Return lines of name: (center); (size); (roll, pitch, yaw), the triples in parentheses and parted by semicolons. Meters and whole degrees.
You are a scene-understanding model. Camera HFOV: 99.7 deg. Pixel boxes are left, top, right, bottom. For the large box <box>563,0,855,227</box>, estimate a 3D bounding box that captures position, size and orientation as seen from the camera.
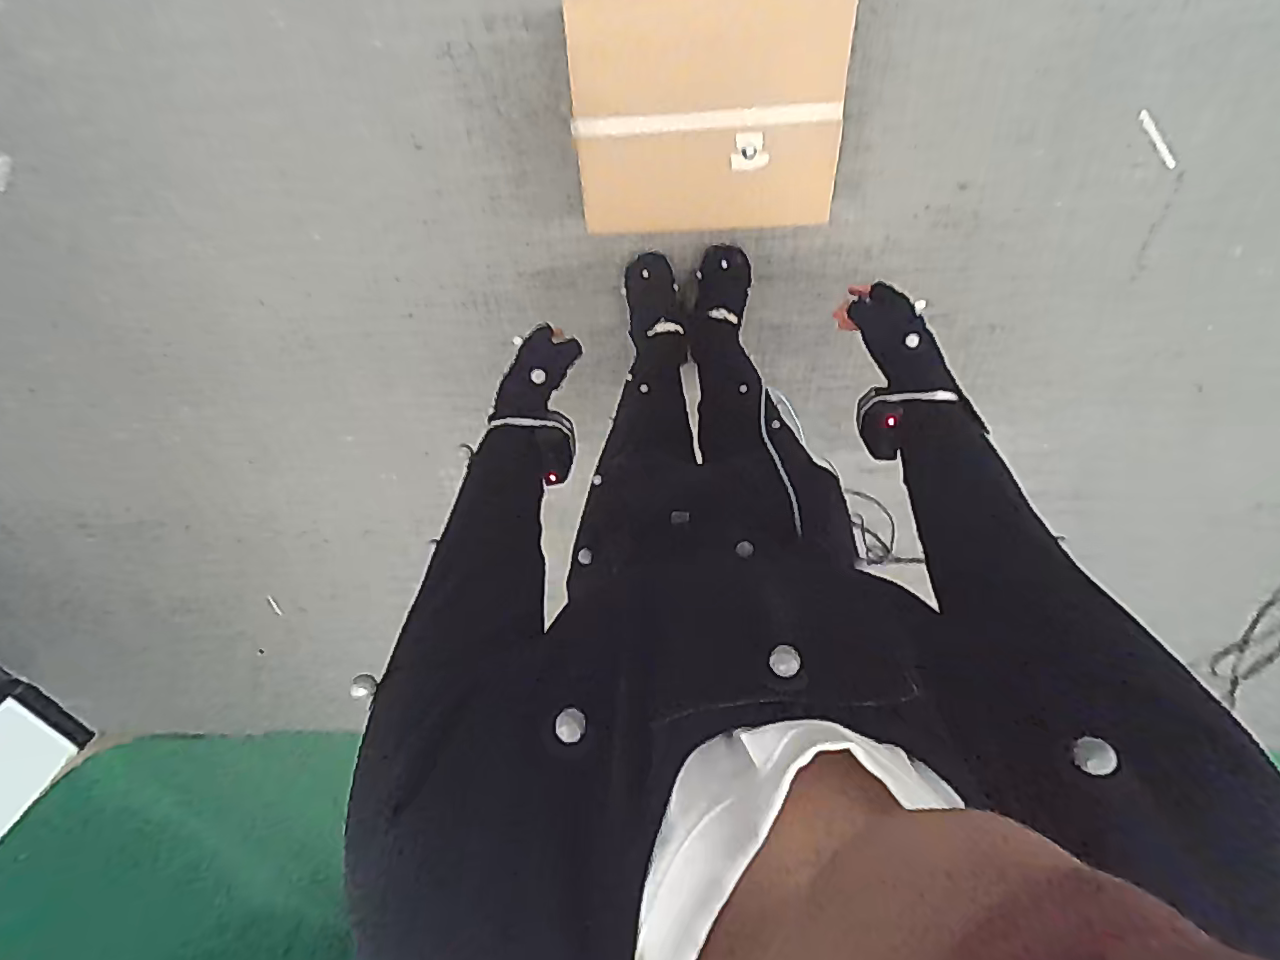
large box: (0.108, -0.645, 0.928); (0.408, 0.320, 0.320); (-1, 127, 5)
